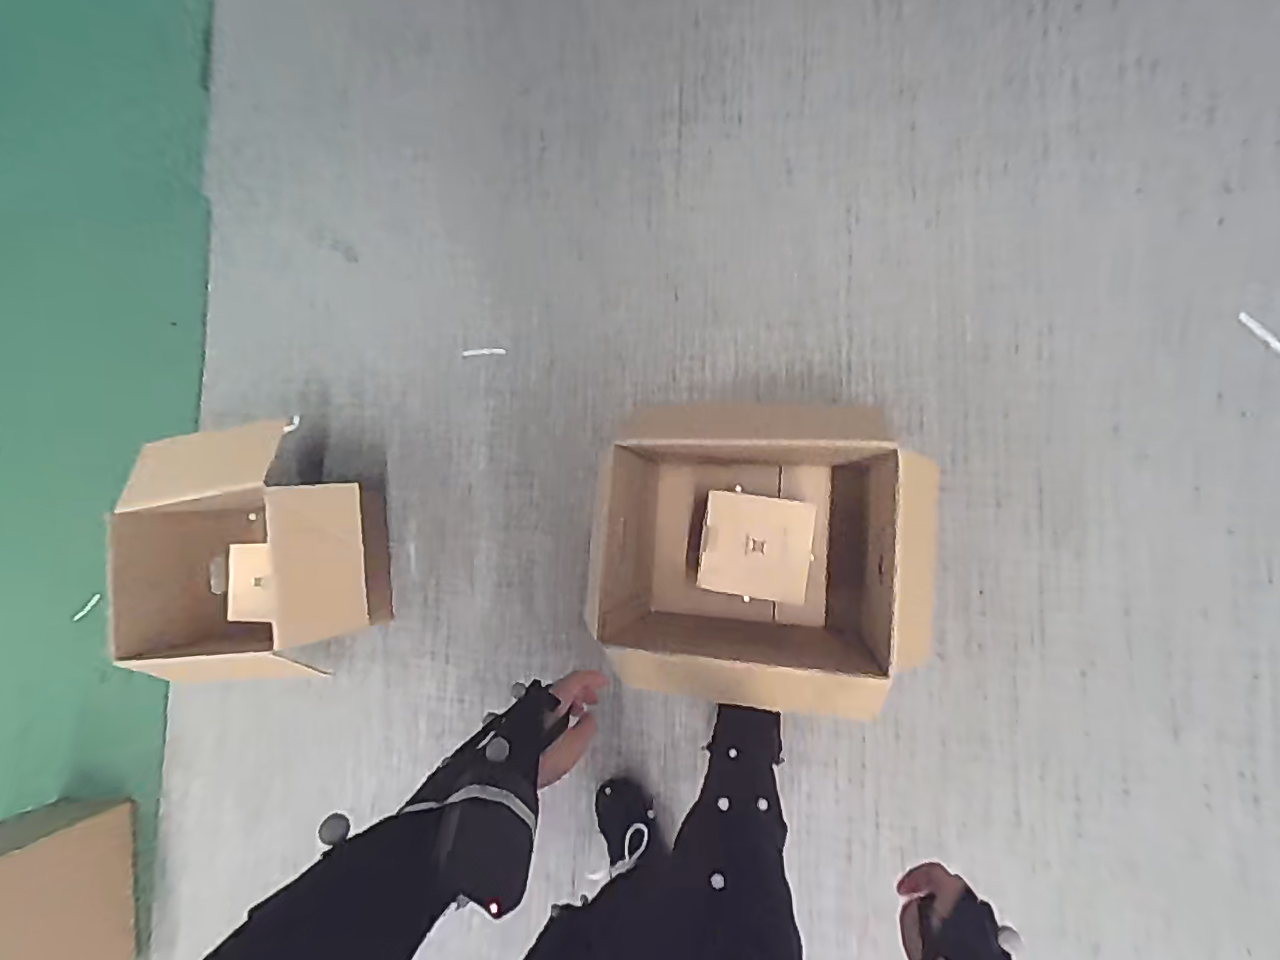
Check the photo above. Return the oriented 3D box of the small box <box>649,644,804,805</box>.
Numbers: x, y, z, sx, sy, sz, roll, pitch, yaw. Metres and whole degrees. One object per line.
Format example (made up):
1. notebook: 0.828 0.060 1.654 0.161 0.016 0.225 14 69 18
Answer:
1. small box: 0.150 0.425 0.932 0.179 0.168 0.176 45 123 2
